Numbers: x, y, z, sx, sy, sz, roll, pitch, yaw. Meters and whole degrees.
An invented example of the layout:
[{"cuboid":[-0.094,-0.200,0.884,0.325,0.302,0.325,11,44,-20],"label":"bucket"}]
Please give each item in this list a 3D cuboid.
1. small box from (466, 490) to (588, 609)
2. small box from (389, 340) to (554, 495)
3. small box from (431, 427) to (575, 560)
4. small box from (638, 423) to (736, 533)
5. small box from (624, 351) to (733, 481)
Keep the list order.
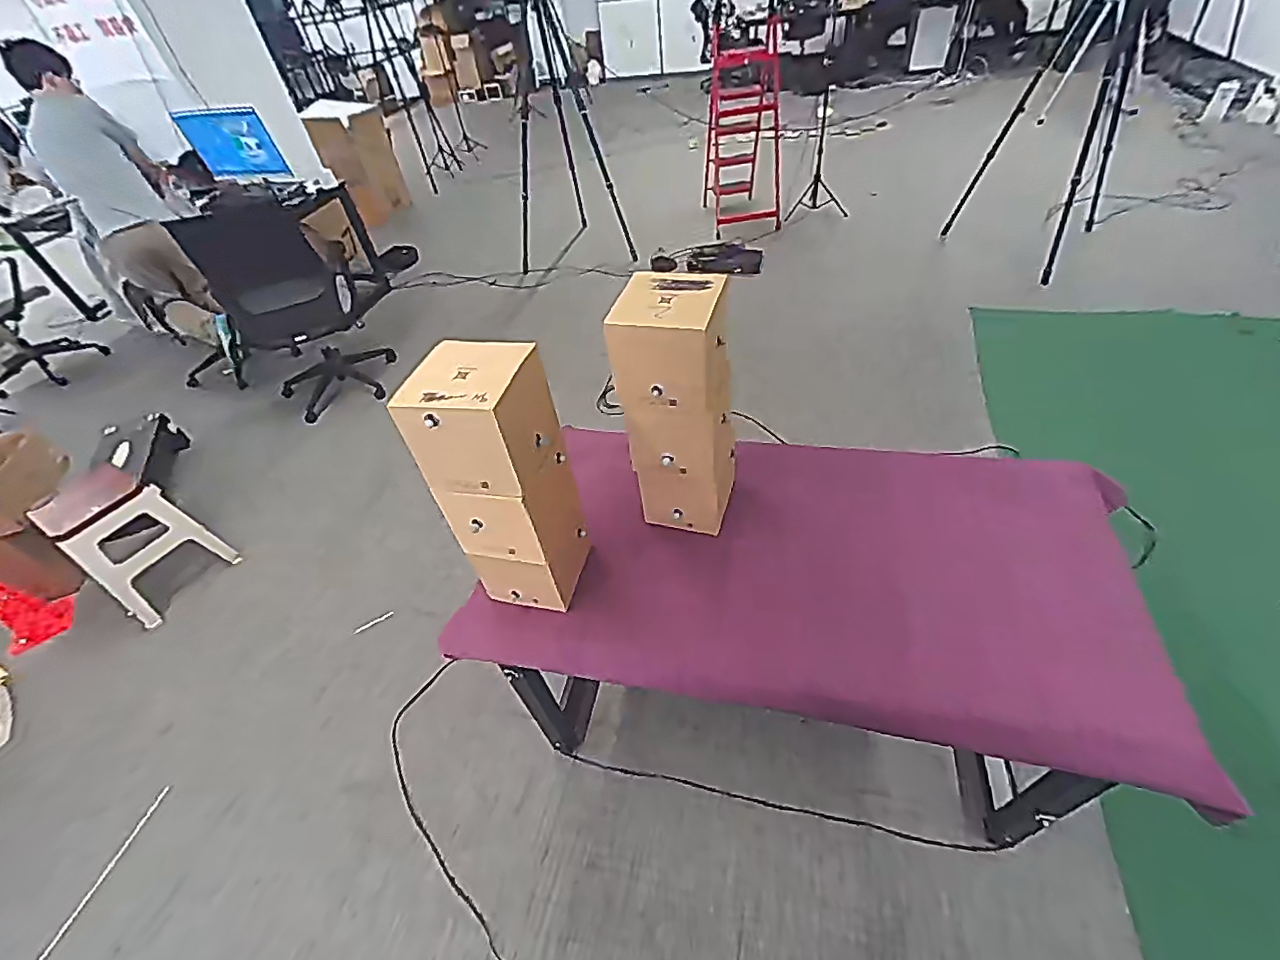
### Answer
[{"cuboid":[-0.211,0.128,1.074,0.168,0.176,0.179,6,47,15],"label":"small box"},{"cuboid":[-0.245,-0.100,0.844,0.168,0.176,0.179,4,44,14],"label":"small box"},{"cuboid":[-0.226,0.020,0.955,0.168,0.176,0.179,6,45,15],"label":"small box"},{"cuboid":[0.106,-0.015,1.165,0.168,0.176,0.179,10,49,18],"label":"small box"},{"cuboid":[0.080,-0.126,1.046,0.168,0.176,0.179,8,49,17],"label":"small box"}]
